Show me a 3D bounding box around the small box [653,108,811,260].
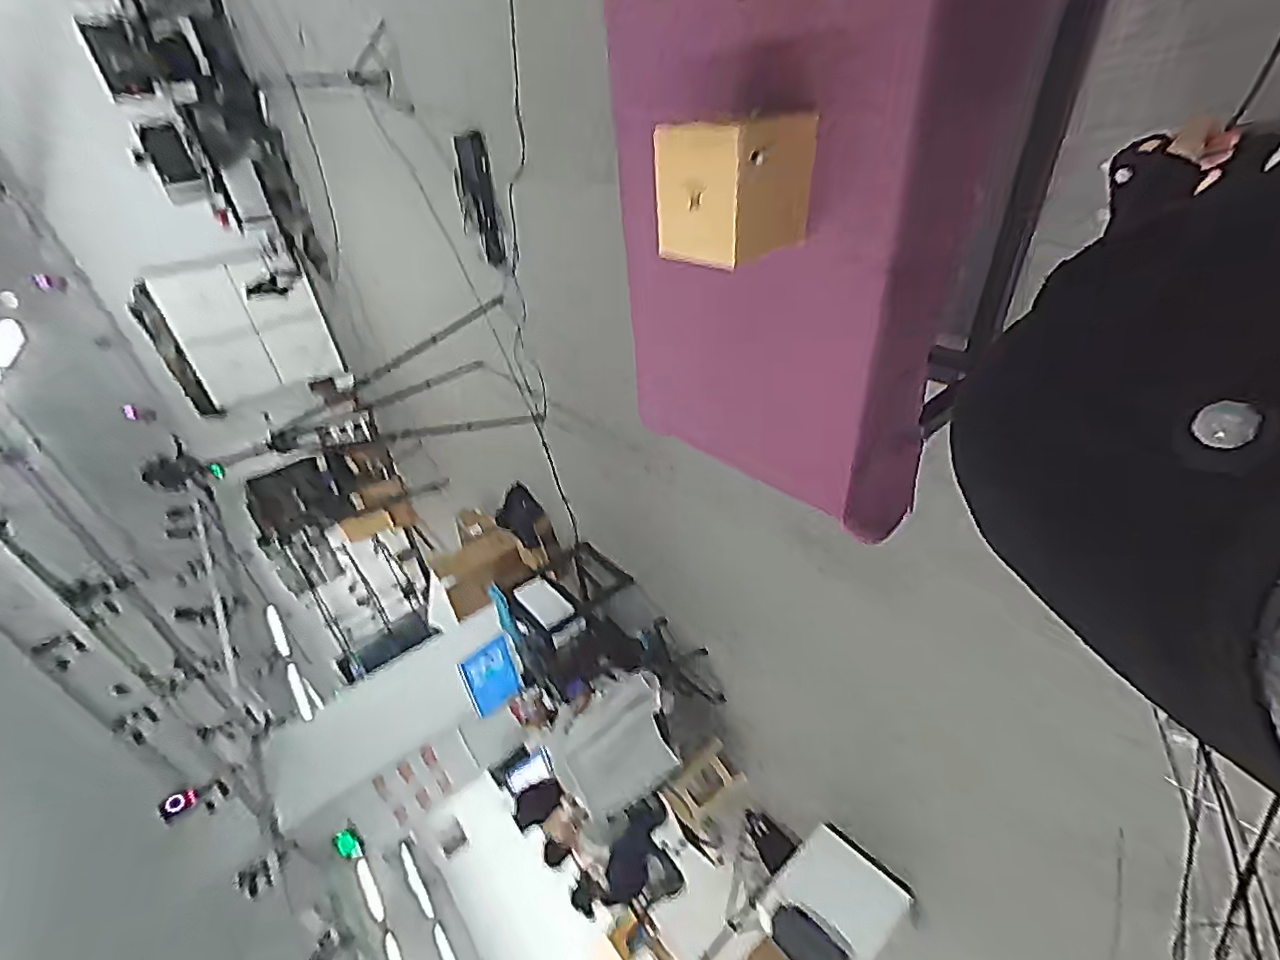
[{"bbox_3d":[0.138,-0.453,0.822,0.168,0.176,0.179,33,139,40],"label":"small box"}]
